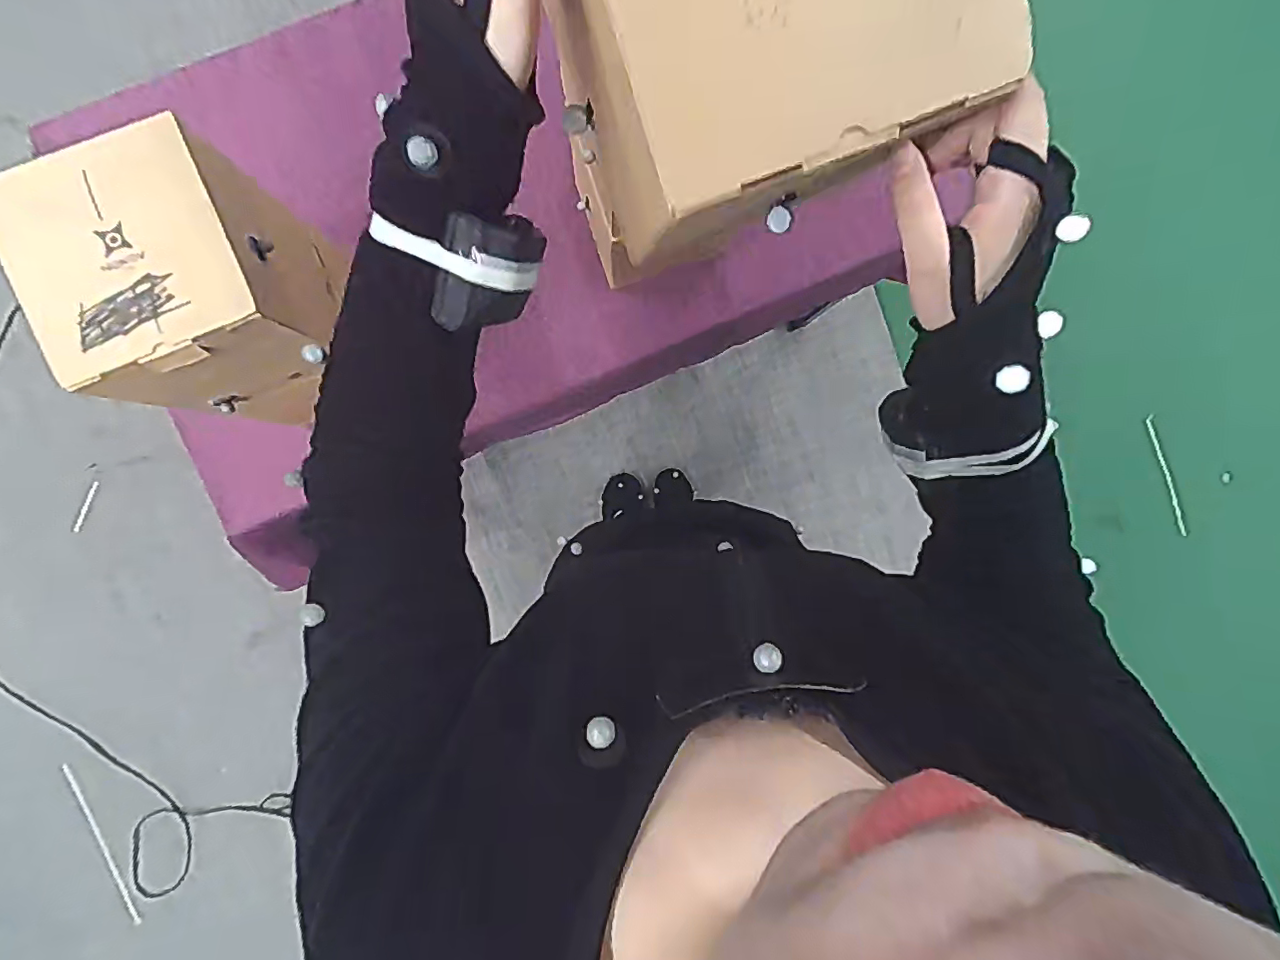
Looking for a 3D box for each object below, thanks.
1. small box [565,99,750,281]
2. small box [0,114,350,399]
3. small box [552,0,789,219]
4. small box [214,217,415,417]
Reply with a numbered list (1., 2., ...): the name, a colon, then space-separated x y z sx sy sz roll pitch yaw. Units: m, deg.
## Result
1. small box: 0.019 -0.376 0.689 0.179 0.176 0.168 -18 93 -1
2. small box: -0.416 -0.187 0.515 0.168 0.176 0.179 -23 91 -2
3. small box: 0.021 -0.381 0.524 0.168 0.176 0.179 -17 91 -3
4. small box: -0.420 -0.187 0.679 0.179 0.176 0.168 -22 92 -2
